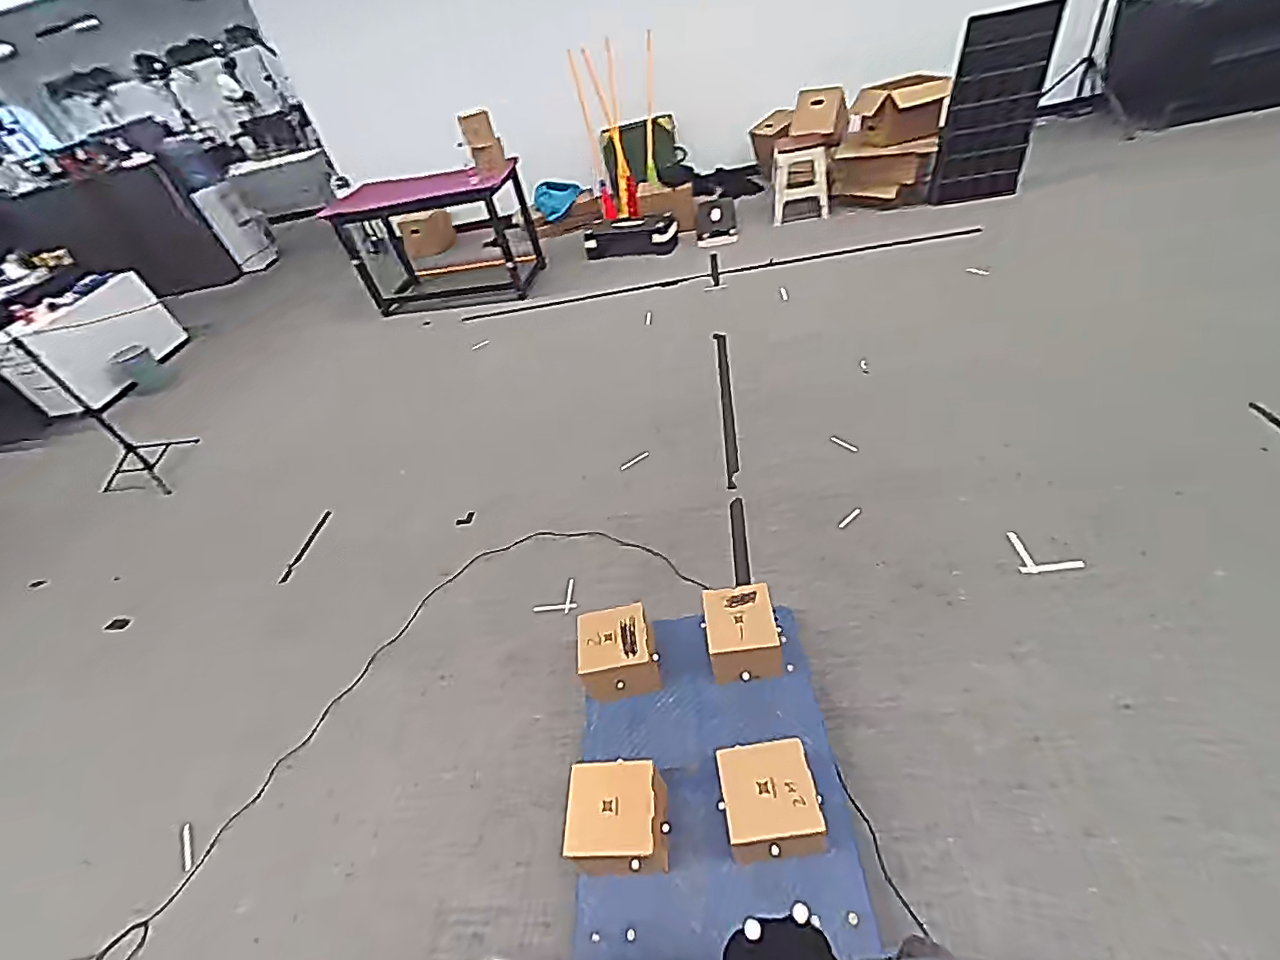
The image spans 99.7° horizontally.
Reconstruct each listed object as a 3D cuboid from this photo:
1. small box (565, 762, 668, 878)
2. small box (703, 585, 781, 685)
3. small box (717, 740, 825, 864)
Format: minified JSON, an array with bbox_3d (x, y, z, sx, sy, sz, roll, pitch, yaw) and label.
[{"bbox_3d":[-0.041,0.704,1.116,0.179,0.176,0.168,-7,42,7],"label":"small box"},{"bbox_3d":[0.255,0.391,1.360,0.168,0.176,0.179,-9,44,7],"label":"small box"},{"bbox_3d":[0.262,0.649,1.086,0.179,0.176,0.168,-11,43,5],"label":"small box"}]
